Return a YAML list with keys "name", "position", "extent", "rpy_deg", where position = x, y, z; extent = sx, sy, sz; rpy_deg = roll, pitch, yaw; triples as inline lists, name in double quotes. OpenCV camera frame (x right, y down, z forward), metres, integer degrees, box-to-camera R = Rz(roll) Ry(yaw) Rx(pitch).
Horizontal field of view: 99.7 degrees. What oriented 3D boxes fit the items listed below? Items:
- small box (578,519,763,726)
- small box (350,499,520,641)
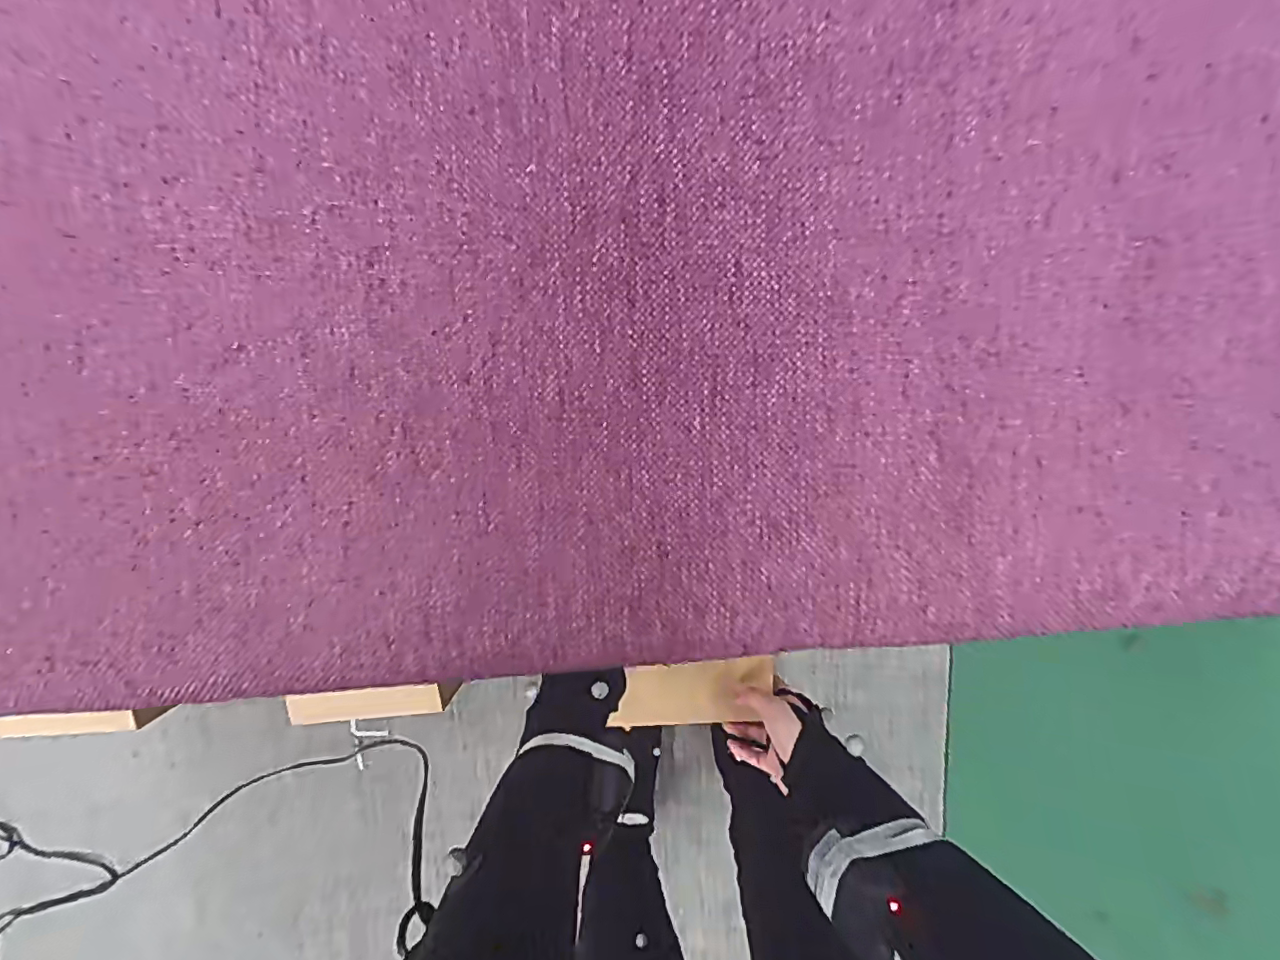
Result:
- name: "small box"
  position: [0.038, 0.149, 0.606]
  extent: [0.179, 0.176, 0.168]
  rpy_deg: [-4, 105, 5]
- name: "small box"
  position: [-0.292, 0.126, 0.806]
  extent: [0.179, 0.176, 0.168]
  rpy_deg: [-5, 98, 3]
